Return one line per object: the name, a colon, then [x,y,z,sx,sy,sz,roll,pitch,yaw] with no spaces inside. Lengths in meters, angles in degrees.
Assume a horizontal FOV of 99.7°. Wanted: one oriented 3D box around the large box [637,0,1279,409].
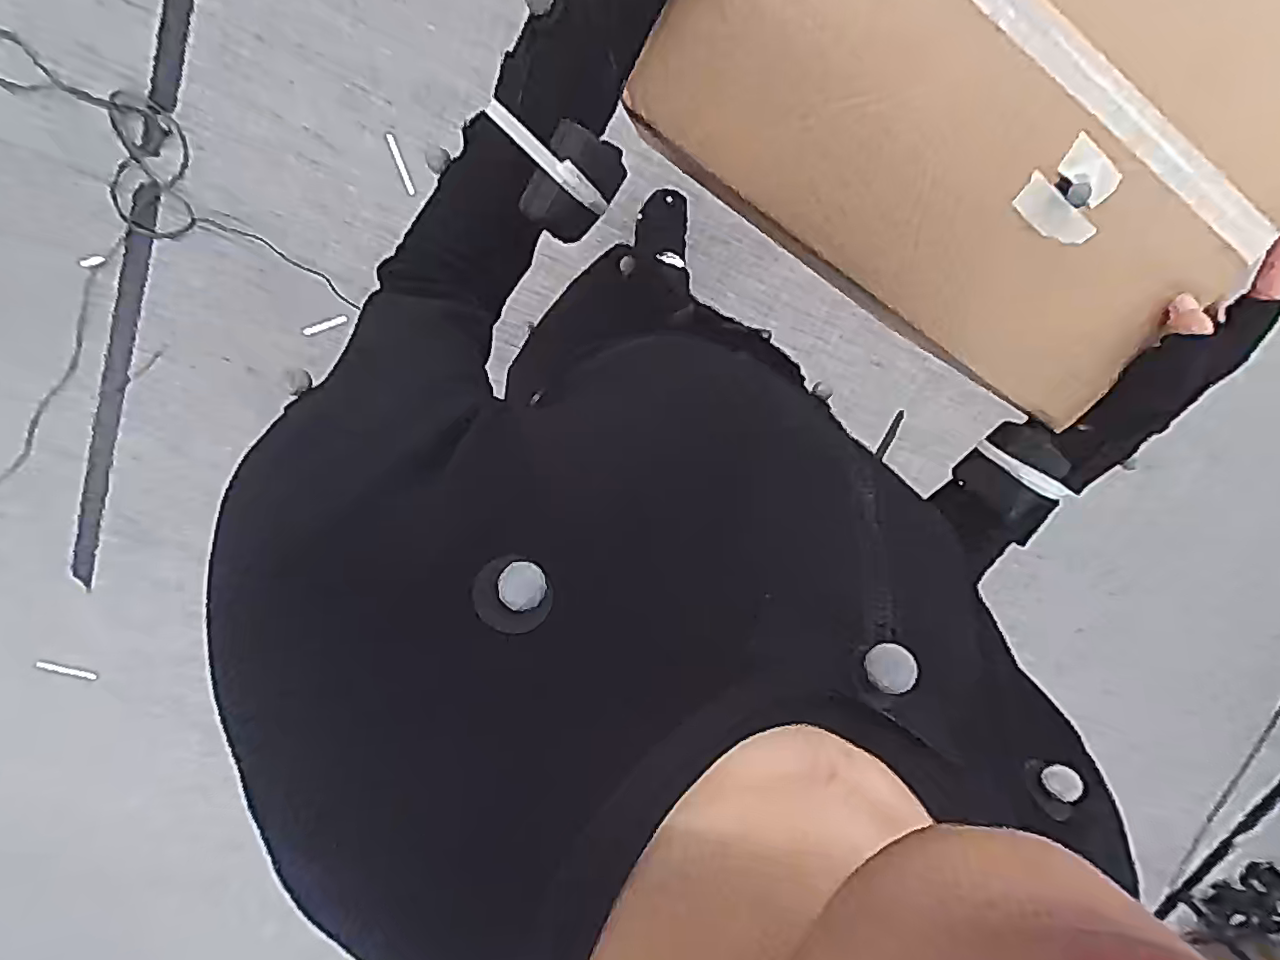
large box: [0.243,-0.331,0.454,0.408,0.320,0.320,30,117,-15]
